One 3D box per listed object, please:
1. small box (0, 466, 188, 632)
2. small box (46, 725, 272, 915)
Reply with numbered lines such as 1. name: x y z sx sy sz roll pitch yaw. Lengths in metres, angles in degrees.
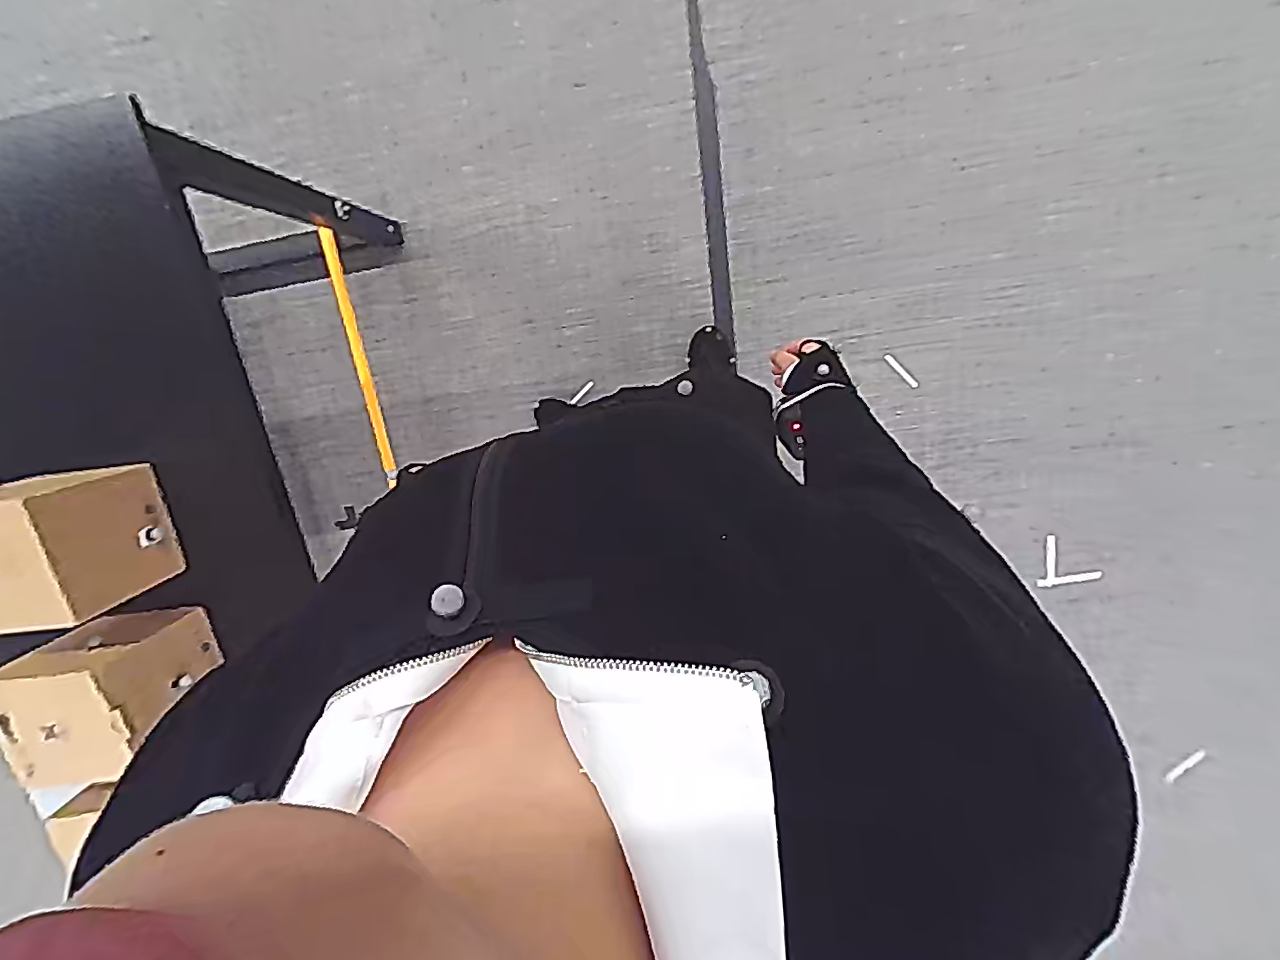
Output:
1. small box: -0.772 0.086 0.720 0.179 0.176 0.168 -7 106 3
2. small box: -0.711 0.510 0.826 0.168 0.176 0.179 -10 103 4
